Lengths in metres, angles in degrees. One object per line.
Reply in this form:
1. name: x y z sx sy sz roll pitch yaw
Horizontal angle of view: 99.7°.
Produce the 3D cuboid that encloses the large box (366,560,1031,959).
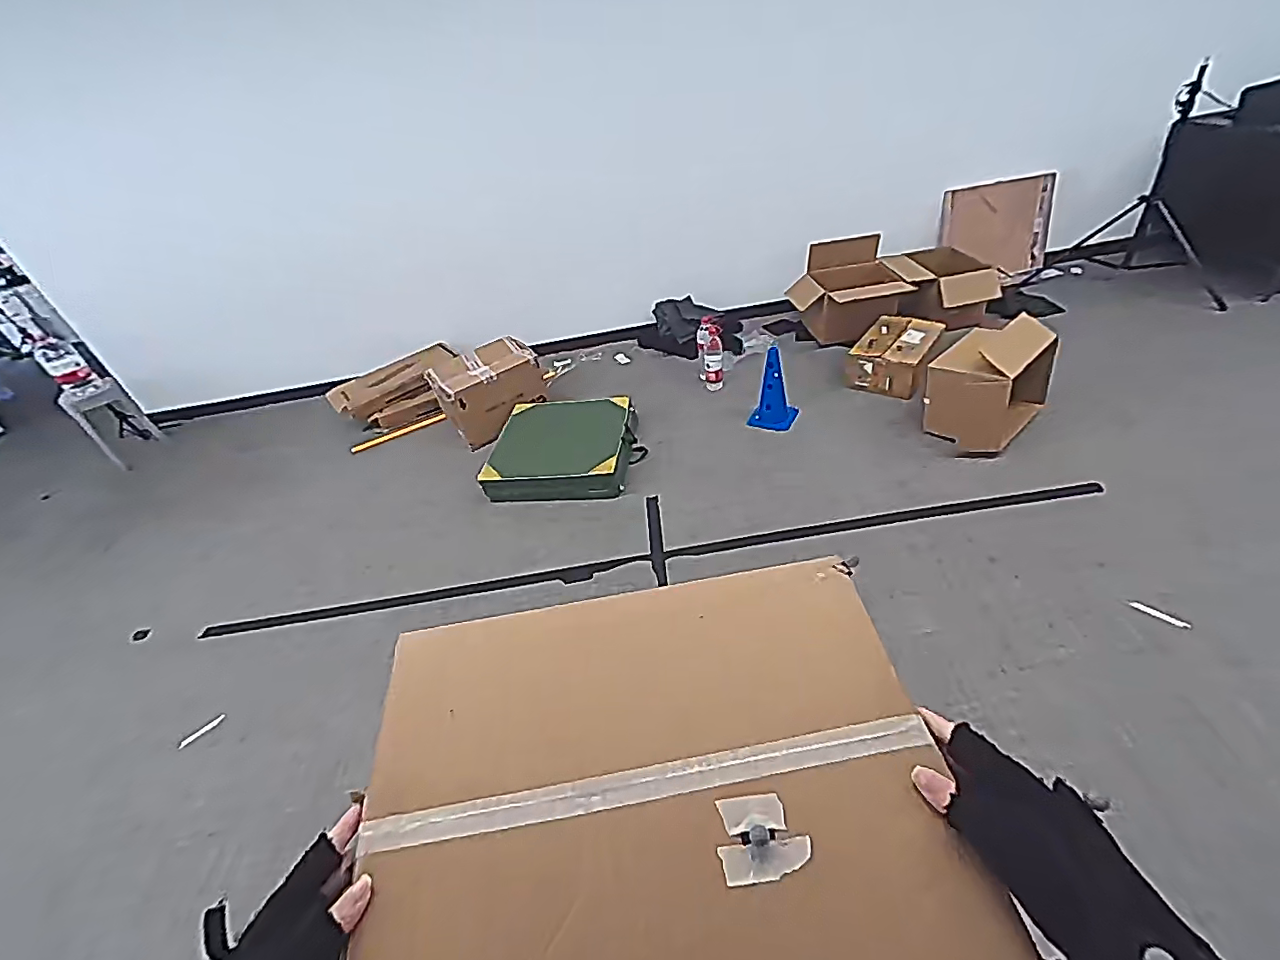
1. large box: 0.023 0.319 0.505 0.408 0.320 0.320 -9 47 -2
